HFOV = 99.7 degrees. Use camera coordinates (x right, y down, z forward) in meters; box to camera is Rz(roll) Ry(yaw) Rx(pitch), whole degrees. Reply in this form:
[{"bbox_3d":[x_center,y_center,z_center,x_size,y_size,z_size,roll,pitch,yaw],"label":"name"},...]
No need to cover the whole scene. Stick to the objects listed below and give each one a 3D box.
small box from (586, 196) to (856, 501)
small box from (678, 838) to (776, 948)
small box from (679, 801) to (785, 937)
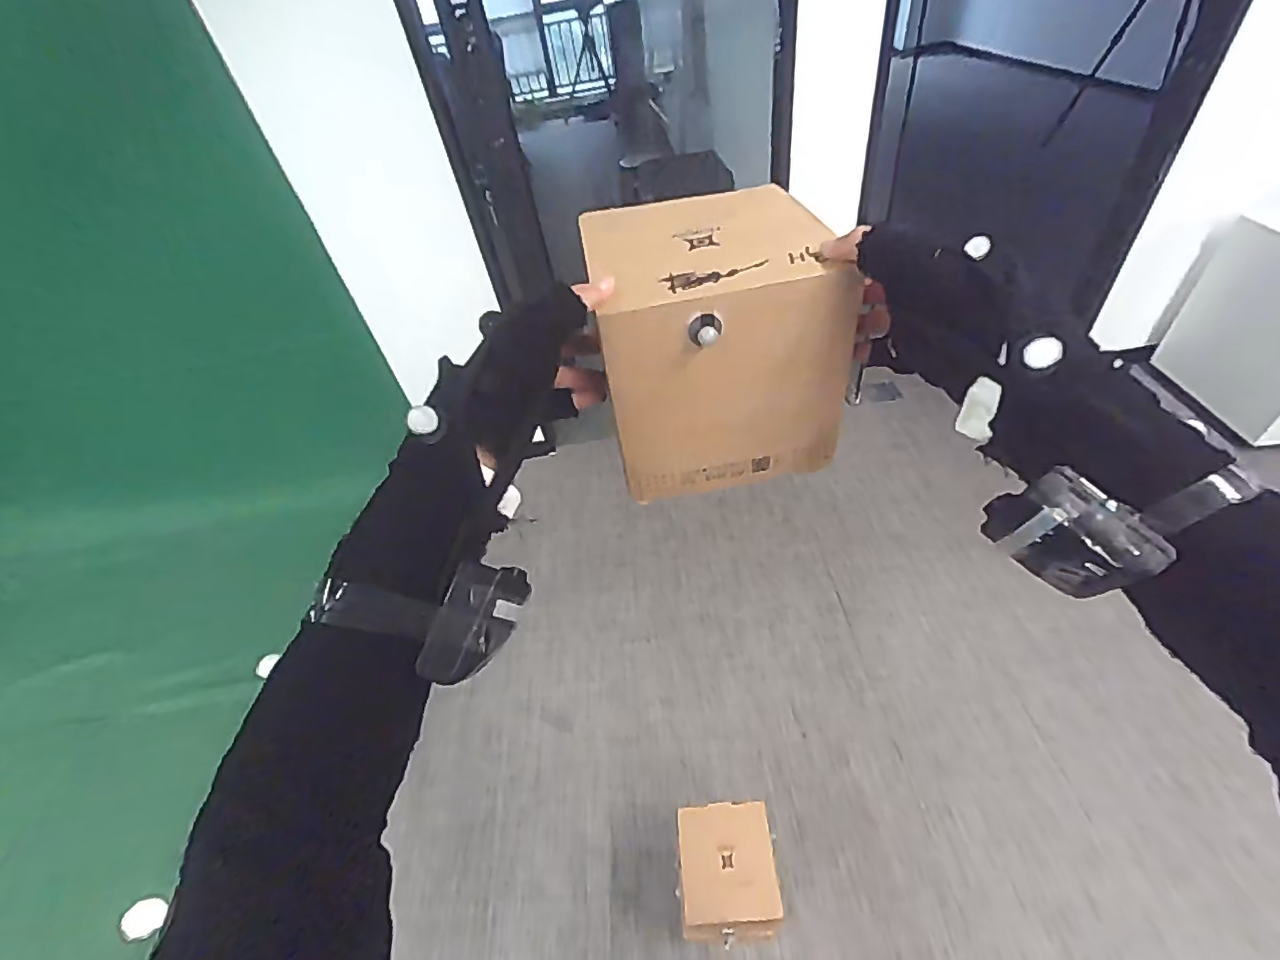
[{"bbox_3d":[0.053,-0.109,0.445,0.168,0.176,0.179,-11,42,0],"label":"small box"},{"bbox_3d":[0.176,0.850,1.117,0.179,0.176,0.168,-8,43,5],"label":"small box"},{"bbox_3d":[0.168,0.728,1.012,0.168,0.176,0.179,-9,44,5],"label":"small box"}]
